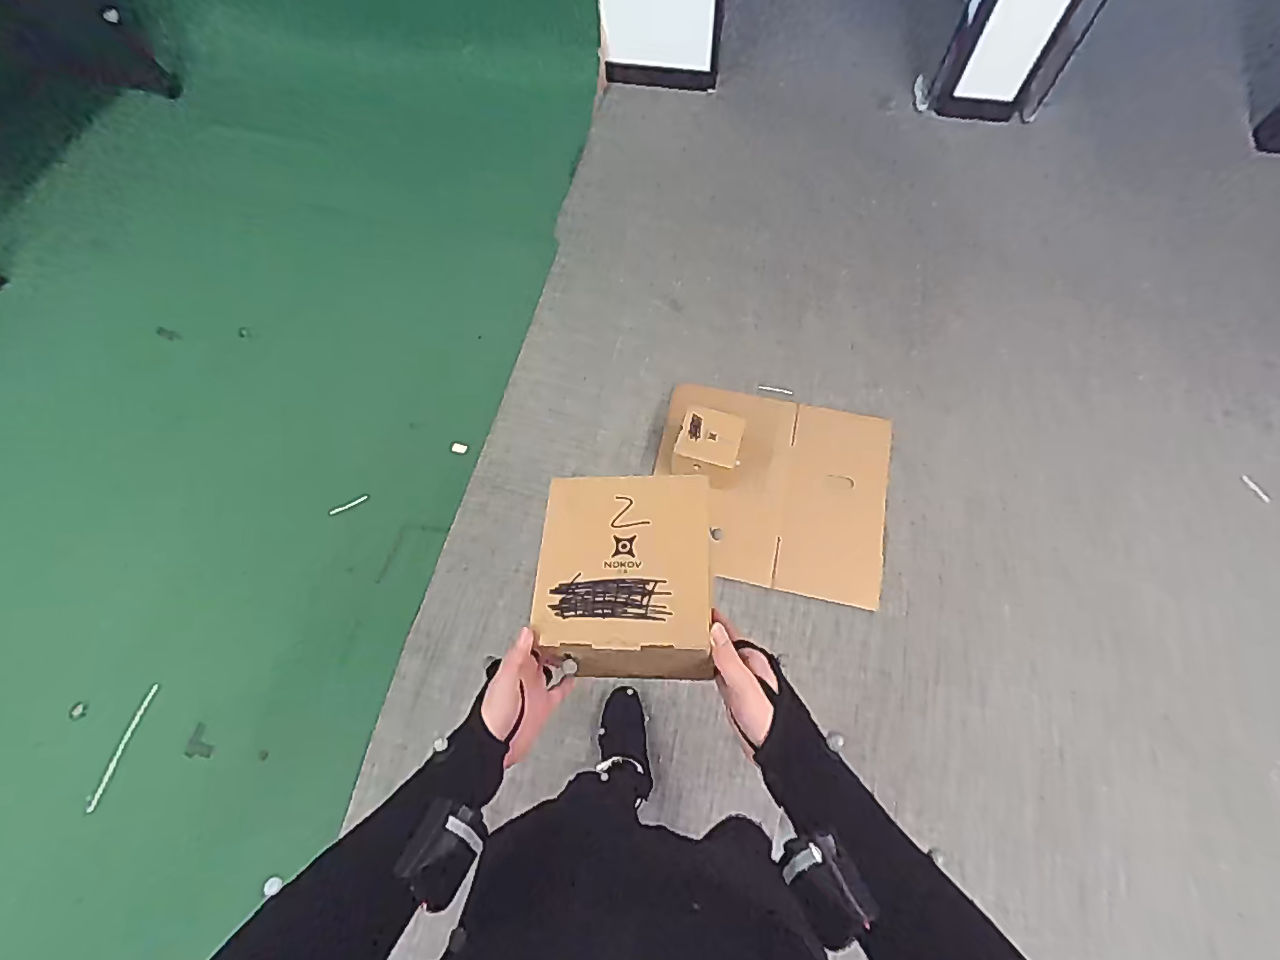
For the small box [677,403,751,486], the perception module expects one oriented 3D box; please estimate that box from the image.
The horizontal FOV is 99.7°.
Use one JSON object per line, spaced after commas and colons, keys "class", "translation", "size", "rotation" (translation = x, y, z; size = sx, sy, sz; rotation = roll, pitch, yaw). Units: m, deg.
{"class": "small box", "translation": [0.212, -0.099, 1.594], "size": [0.179, 0.176, 0.168], "rotation": [16, 71, 9]}
